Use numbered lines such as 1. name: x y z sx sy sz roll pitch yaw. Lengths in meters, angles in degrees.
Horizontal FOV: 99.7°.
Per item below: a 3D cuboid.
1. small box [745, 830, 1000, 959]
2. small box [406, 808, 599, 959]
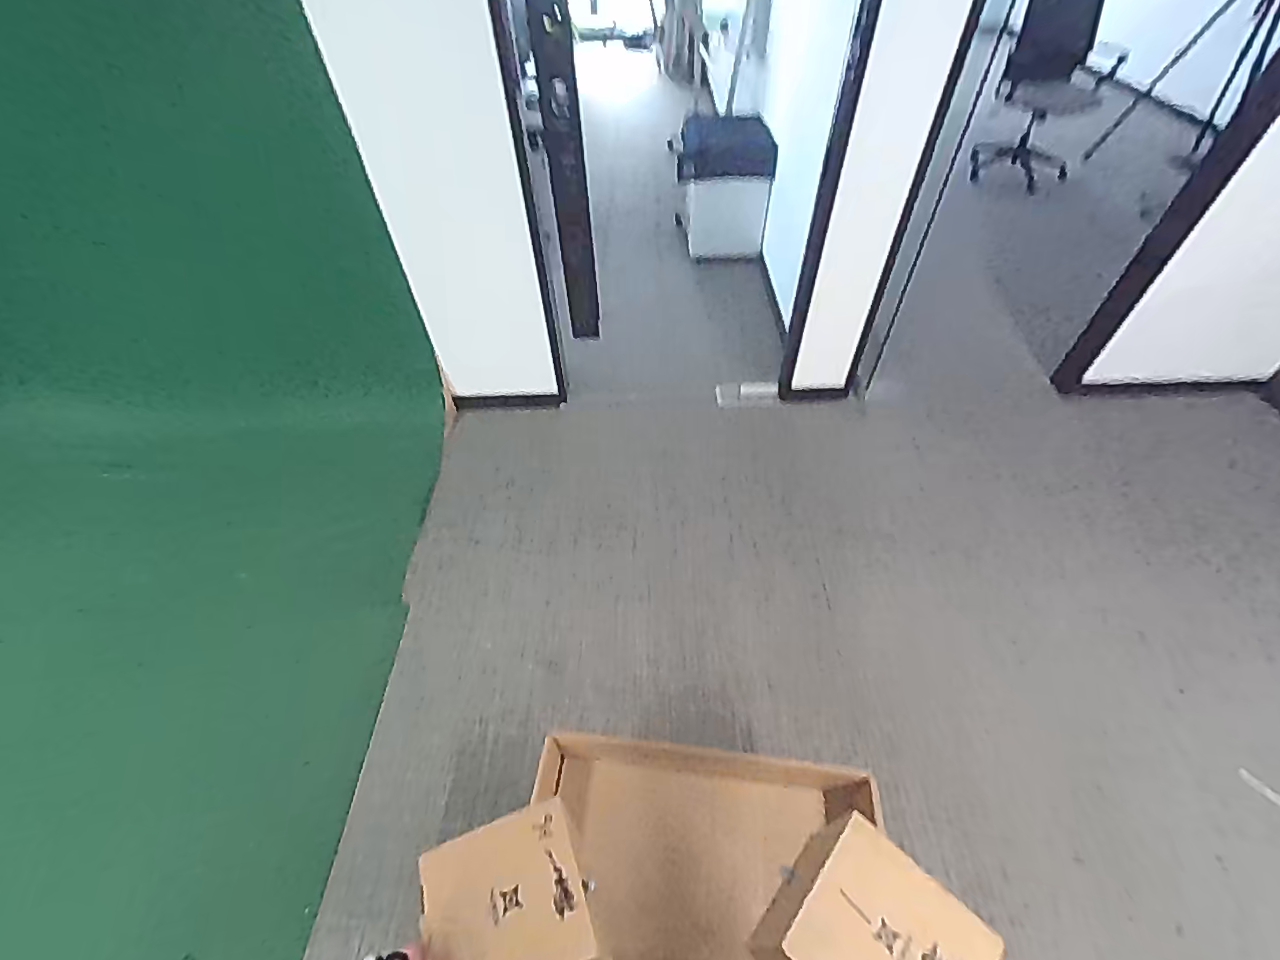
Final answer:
1. small box: 0.242 0.529 0.587 0.179 0.176 0.168 37 54 25
2. small box: -0.156 0.530 0.638 0.179 0.176 0.168 -16 45 -13
